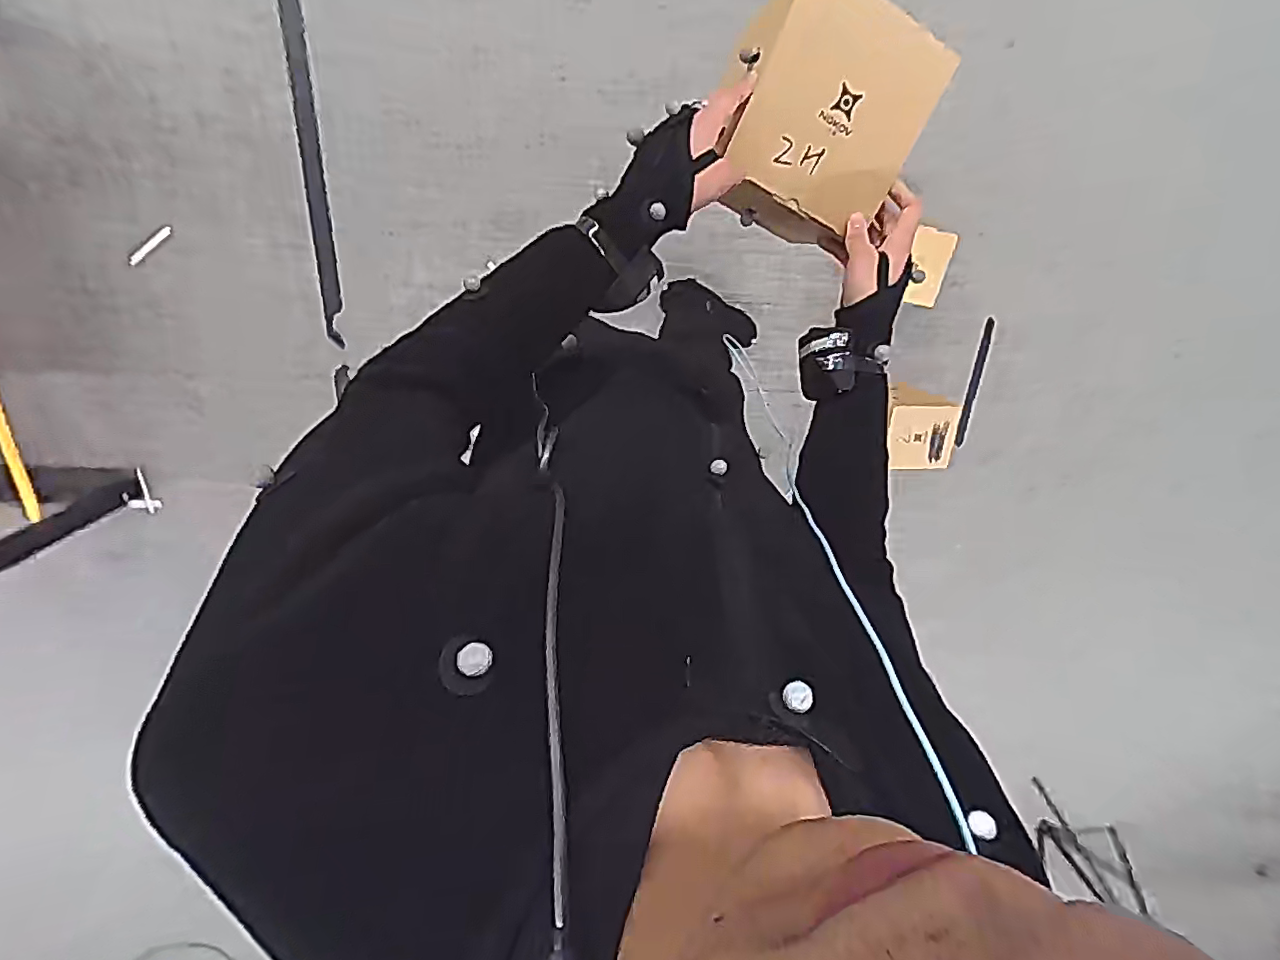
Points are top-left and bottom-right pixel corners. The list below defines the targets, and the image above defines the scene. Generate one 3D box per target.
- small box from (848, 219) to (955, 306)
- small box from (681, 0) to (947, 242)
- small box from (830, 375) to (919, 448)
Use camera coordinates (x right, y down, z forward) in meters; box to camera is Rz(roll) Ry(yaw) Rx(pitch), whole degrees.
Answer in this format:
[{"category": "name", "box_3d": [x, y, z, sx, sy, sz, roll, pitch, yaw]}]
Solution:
[{"category": "small box", "box_3d": [0.671, -0.567, 1.414, 0.168, 0.176, 0.179, 9, 111, -8]}, {"category": "small box", "box_3d": [0.160, -0.372, 0.563, 0.168, 0.176, 0.179, 20, 110, -18]}, {"category": "small box", "box_3d": [0.672, -0.202, 1.569, 0.168, 0.176, 0.179, 0, 114, -4]}]
